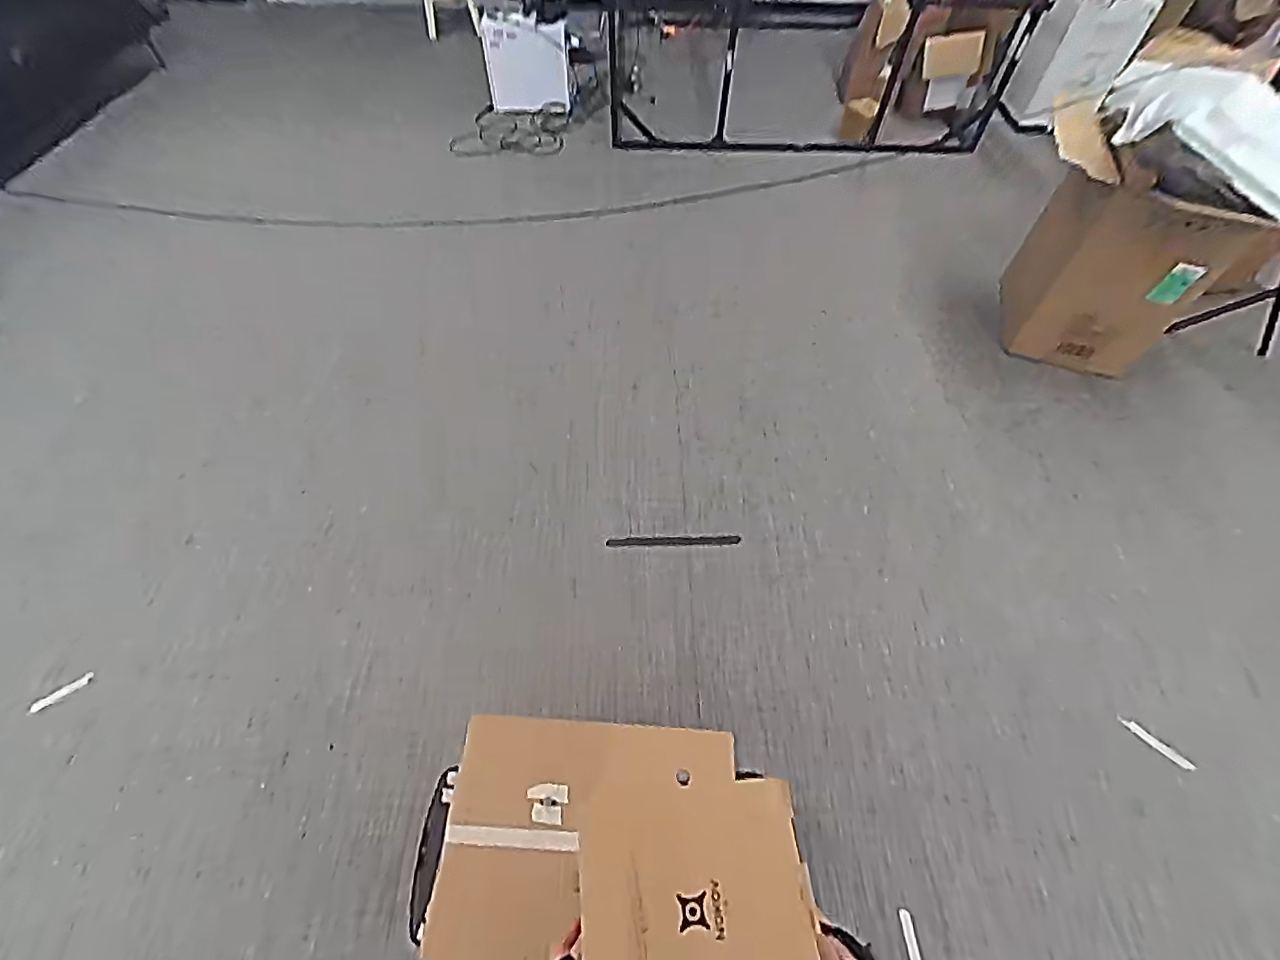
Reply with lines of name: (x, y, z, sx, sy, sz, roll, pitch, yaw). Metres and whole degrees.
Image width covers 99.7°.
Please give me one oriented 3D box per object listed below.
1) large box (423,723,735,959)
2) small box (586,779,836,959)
large box: (-0.063, 0.586, 0.851, 0.408, 0.320, 0.320, 3, 54, 2)
small box: (0.045, 0.356, 0.457, 0.179, 0.176, 0.168, -3, 57, -4)
